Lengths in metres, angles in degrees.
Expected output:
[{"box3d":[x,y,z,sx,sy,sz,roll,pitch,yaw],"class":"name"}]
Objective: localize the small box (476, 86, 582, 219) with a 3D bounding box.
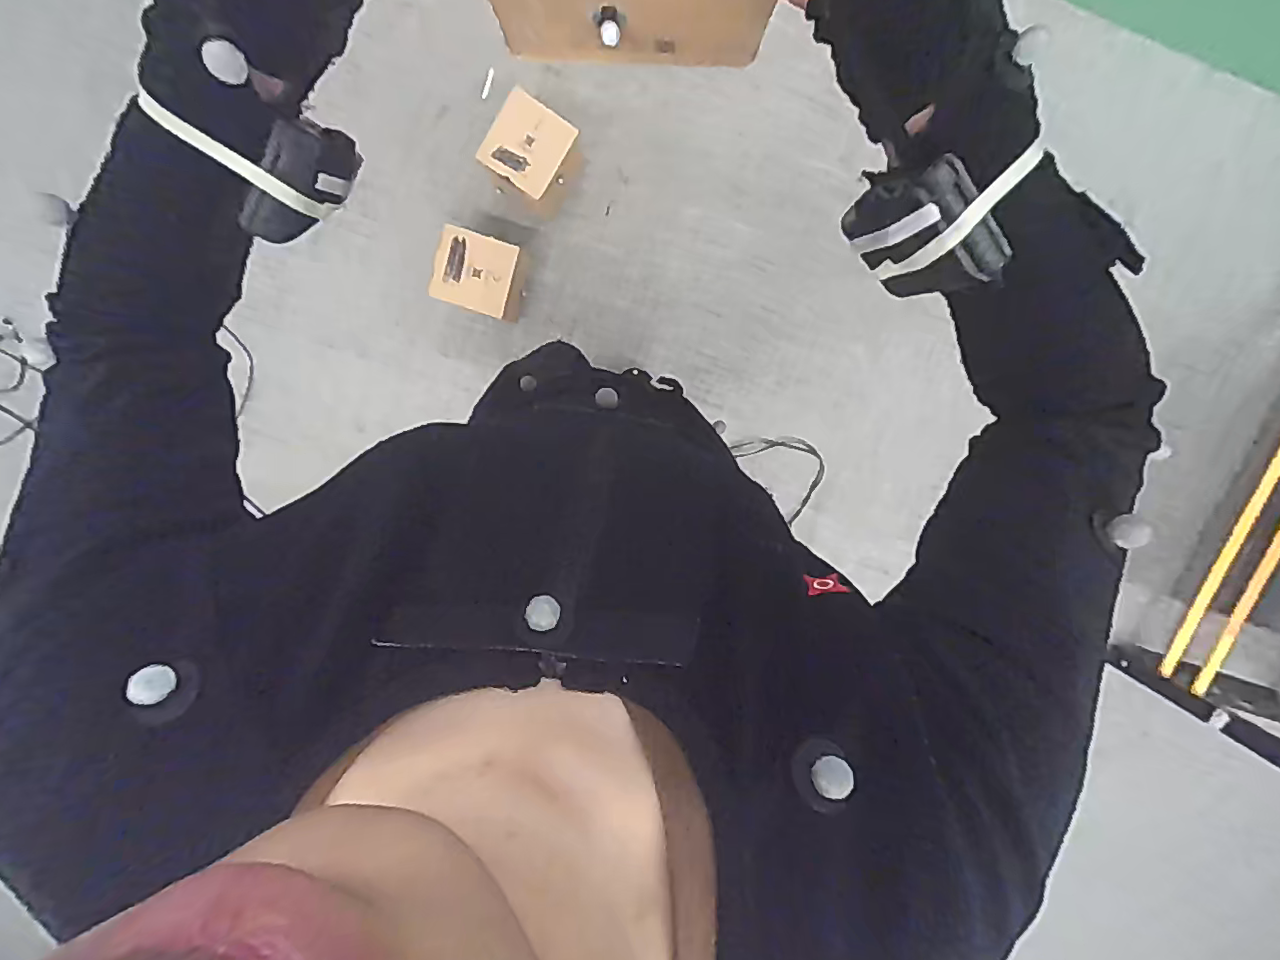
[{"box3d":[-0.245,-0.742,1.252,0.168,0.176,0.179,32,97,-7],"class":"small box"}]
